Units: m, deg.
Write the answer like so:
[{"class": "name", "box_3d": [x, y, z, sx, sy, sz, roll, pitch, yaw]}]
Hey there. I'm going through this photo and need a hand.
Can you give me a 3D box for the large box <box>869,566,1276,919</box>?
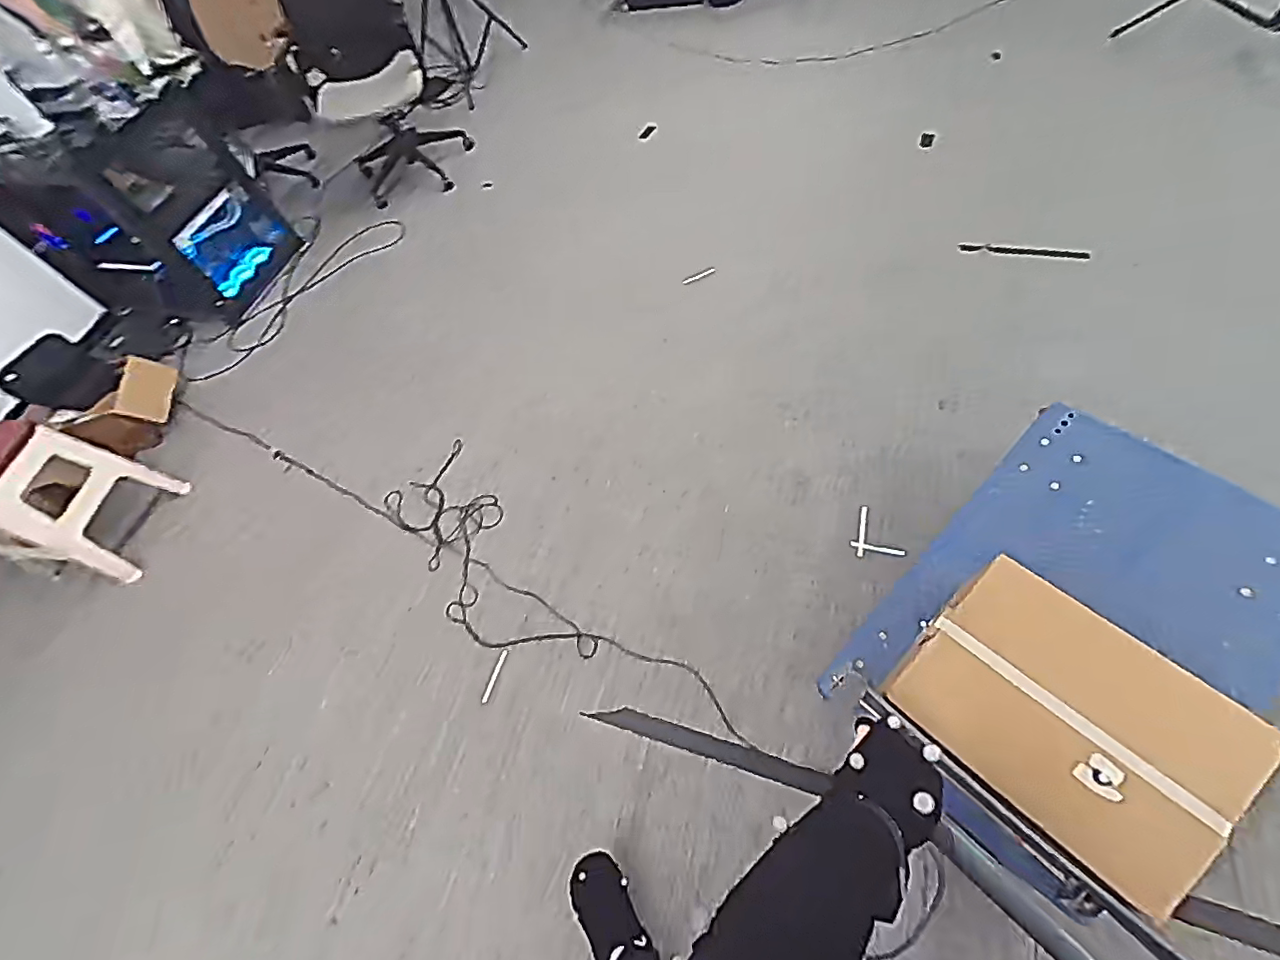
[{"class": "large box", "box_3d": [0.681, 0.416, 0.949, 0.408, 0.320, 0.320, 40, 86, 27]}]
